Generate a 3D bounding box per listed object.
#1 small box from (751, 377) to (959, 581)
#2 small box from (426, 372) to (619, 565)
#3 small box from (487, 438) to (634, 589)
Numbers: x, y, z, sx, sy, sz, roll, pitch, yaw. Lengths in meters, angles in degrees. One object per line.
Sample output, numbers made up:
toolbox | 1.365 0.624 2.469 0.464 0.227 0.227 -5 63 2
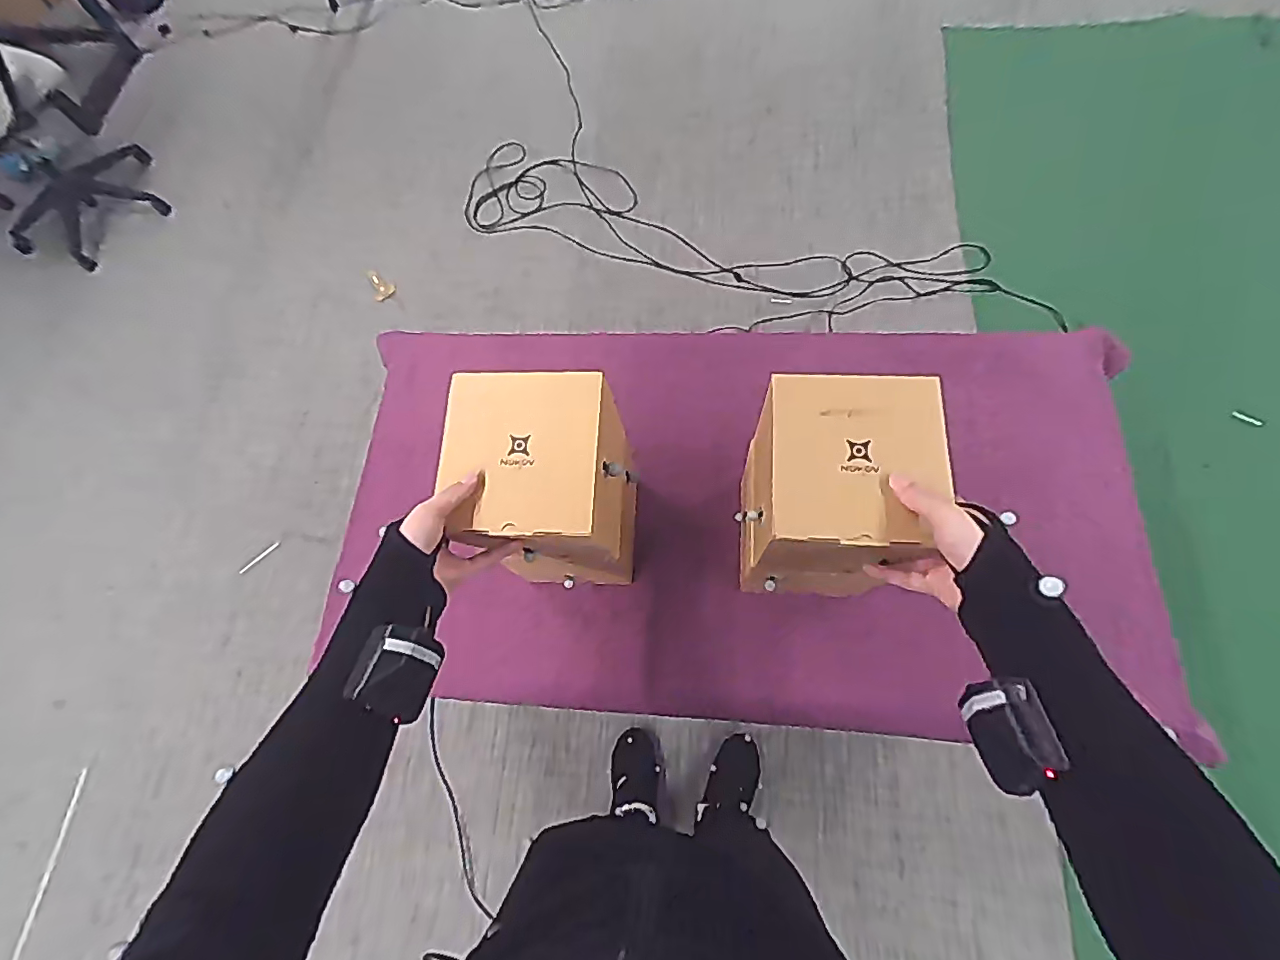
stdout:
small box | 0.213 0.008 0.584 0.168 0.176 0.179 3 69 6
small box | -0.116 -0.005 0.616 0.168 0.176 0.179 1 73 5
small box | -0.101 0.051 0.773 0.168 0.176 0.179 1 69 6
